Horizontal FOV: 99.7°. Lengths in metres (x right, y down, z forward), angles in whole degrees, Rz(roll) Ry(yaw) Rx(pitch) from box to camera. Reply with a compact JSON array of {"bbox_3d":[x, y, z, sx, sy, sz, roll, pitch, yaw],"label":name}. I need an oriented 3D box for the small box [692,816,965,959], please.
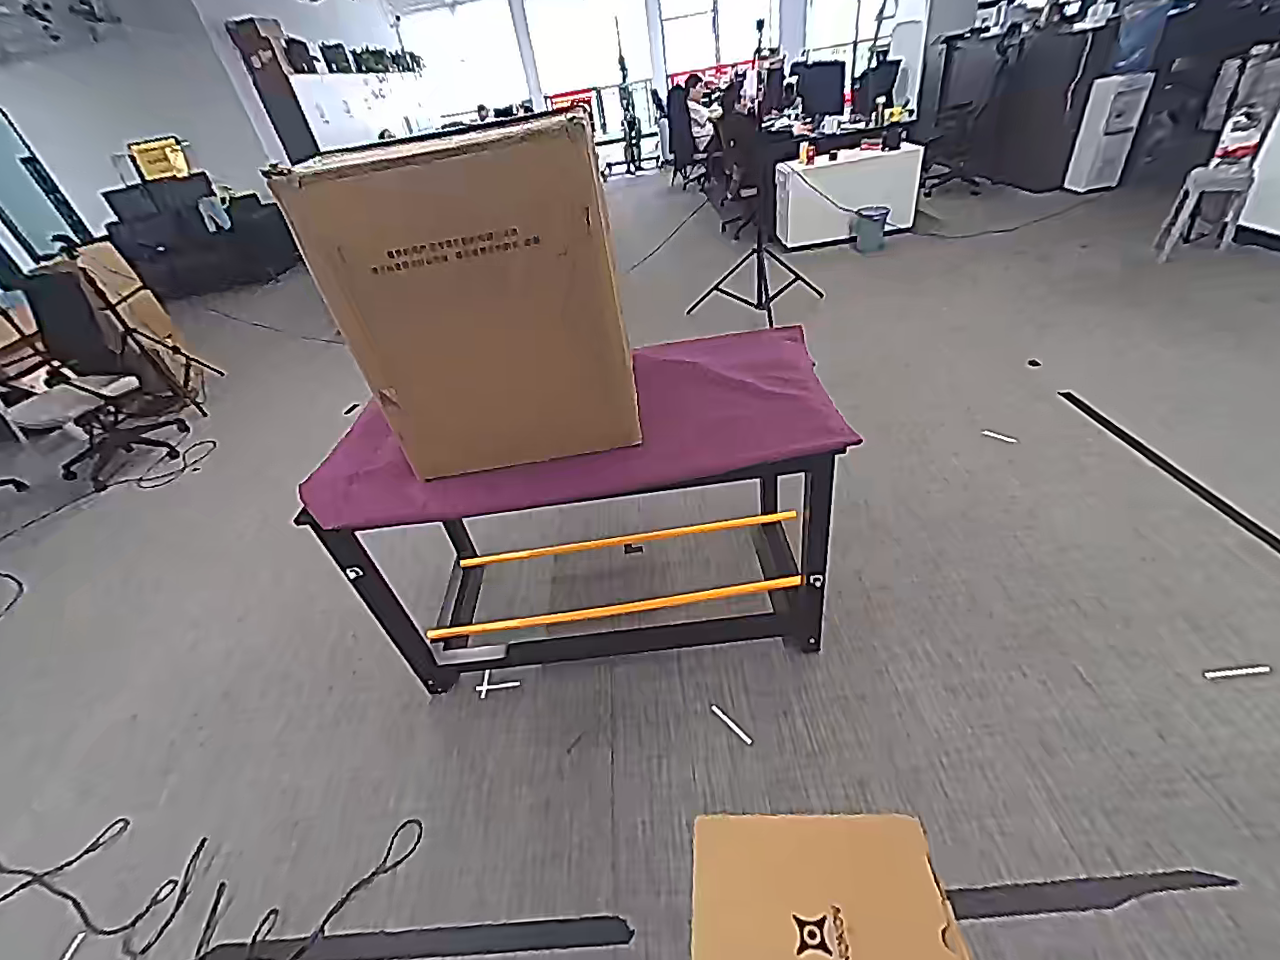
[{"bbox_3d":[0.138,0.380,0.396,0.179,0.176,0.168,-7,25,11],"label":"small box"}]
